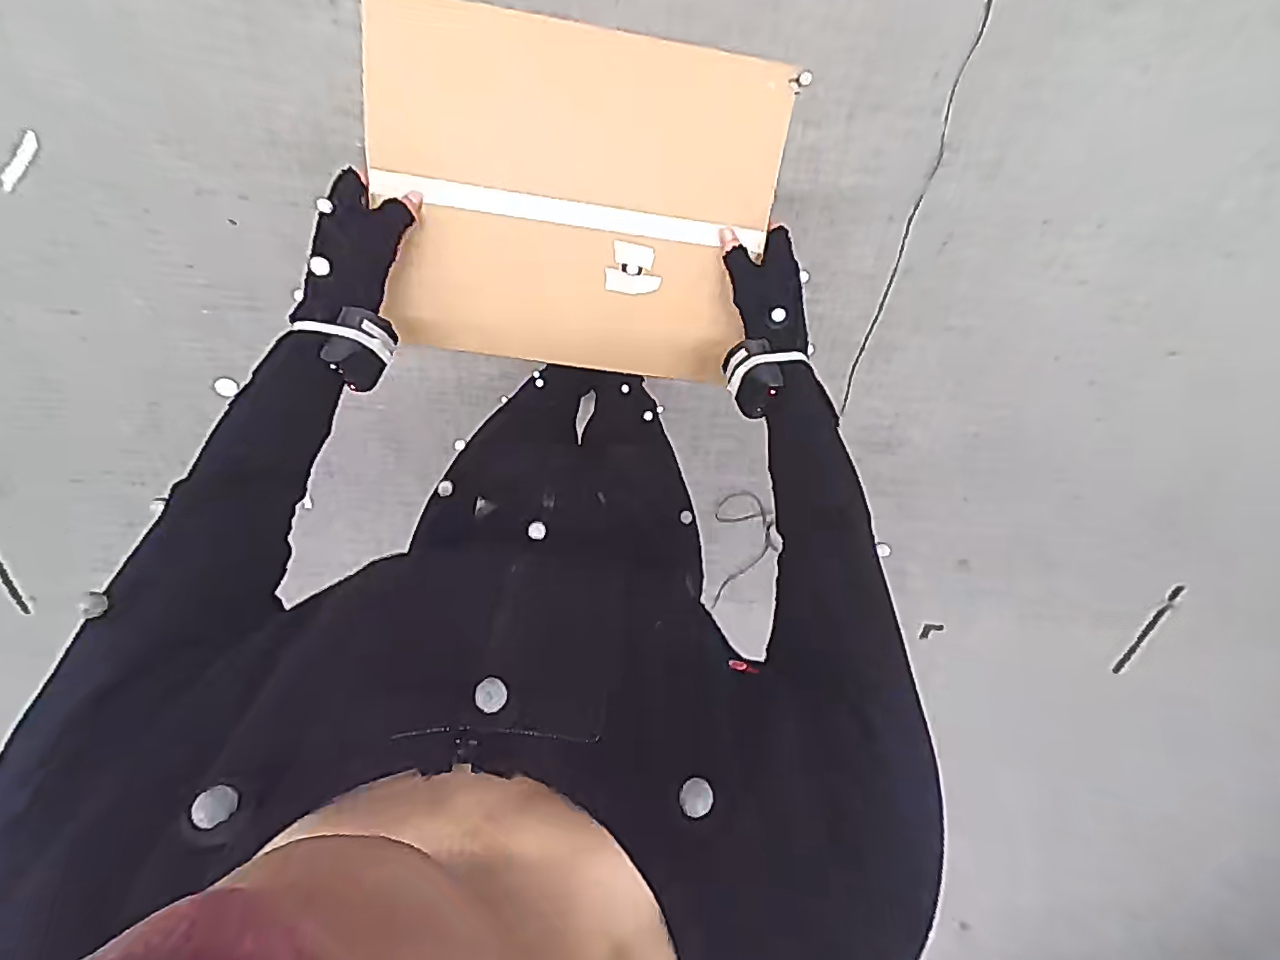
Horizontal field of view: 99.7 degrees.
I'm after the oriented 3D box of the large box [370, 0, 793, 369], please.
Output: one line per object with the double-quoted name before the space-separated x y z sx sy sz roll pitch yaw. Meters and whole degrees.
"large box" -0.076 -0.342 0.696 0.408 0.320 0.320 5 113 -7
